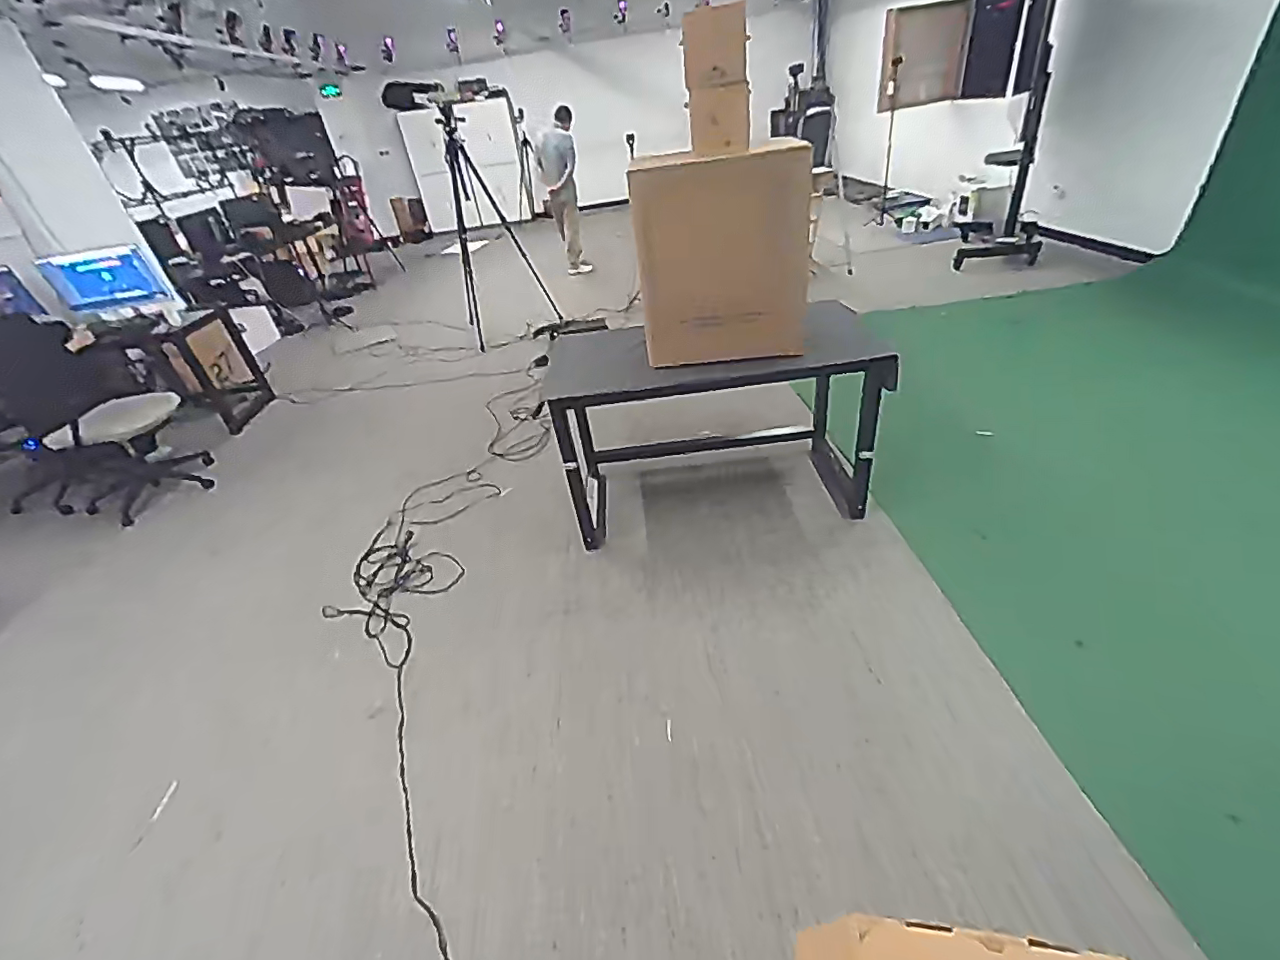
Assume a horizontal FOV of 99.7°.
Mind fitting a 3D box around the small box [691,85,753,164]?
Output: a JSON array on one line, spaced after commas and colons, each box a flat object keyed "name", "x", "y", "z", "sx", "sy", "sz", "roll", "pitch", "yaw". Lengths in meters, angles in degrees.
[{"name": "small box", "x": 0.241, "y": -1.035, "z": 1.579, "sx": 0.168, "sy": 0.176, "sz": 0.179, "roll": -2, "pitch": 37, "yaw": 9}]
